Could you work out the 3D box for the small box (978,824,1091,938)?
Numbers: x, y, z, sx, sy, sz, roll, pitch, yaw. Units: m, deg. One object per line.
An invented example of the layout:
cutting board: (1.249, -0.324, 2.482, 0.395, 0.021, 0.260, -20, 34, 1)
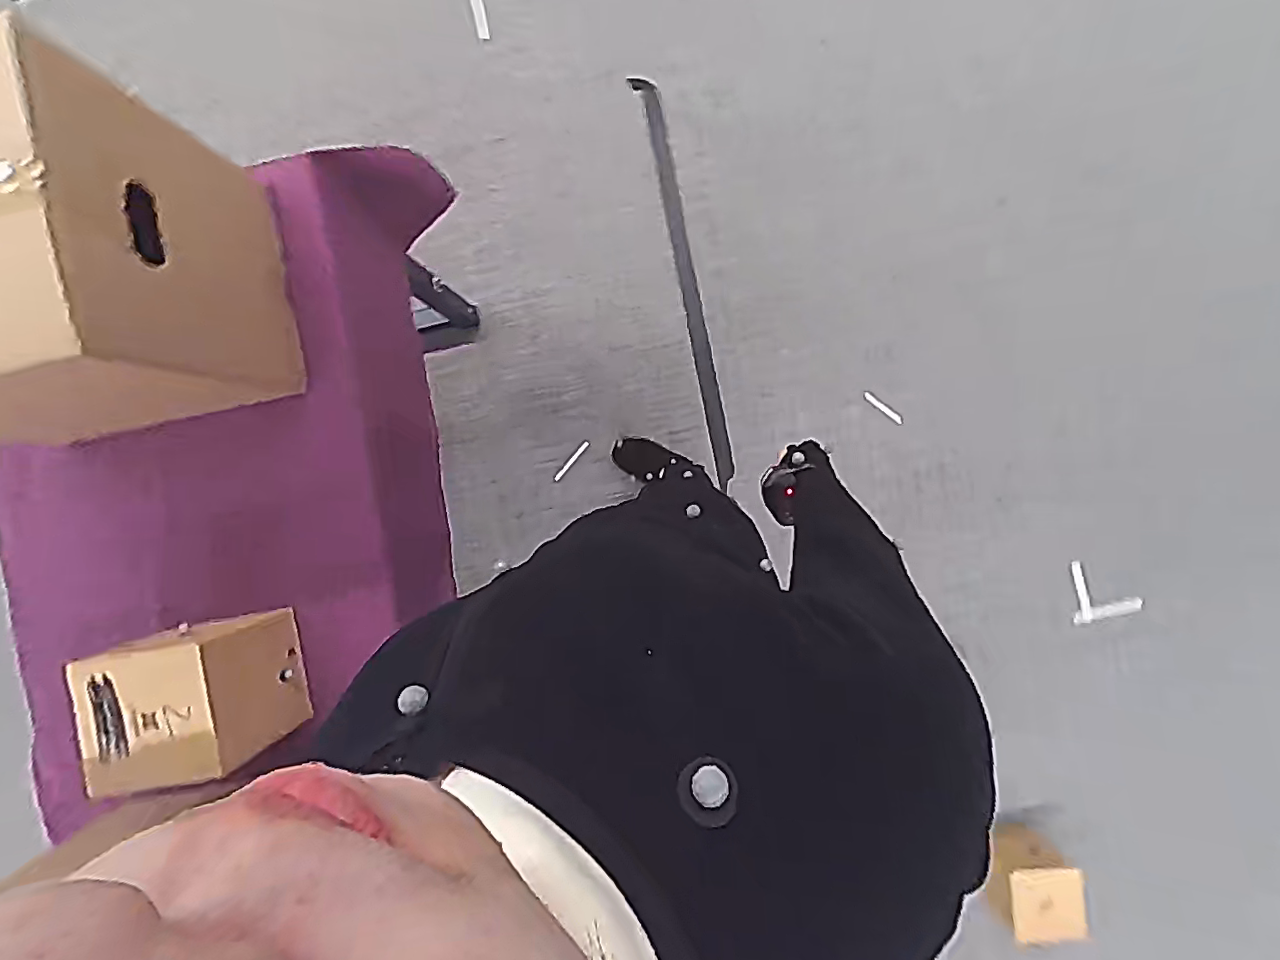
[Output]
small box: (0.996, 1.009, 1.379, 0.168, 0.176, 0.179, -7, 91, 3)
